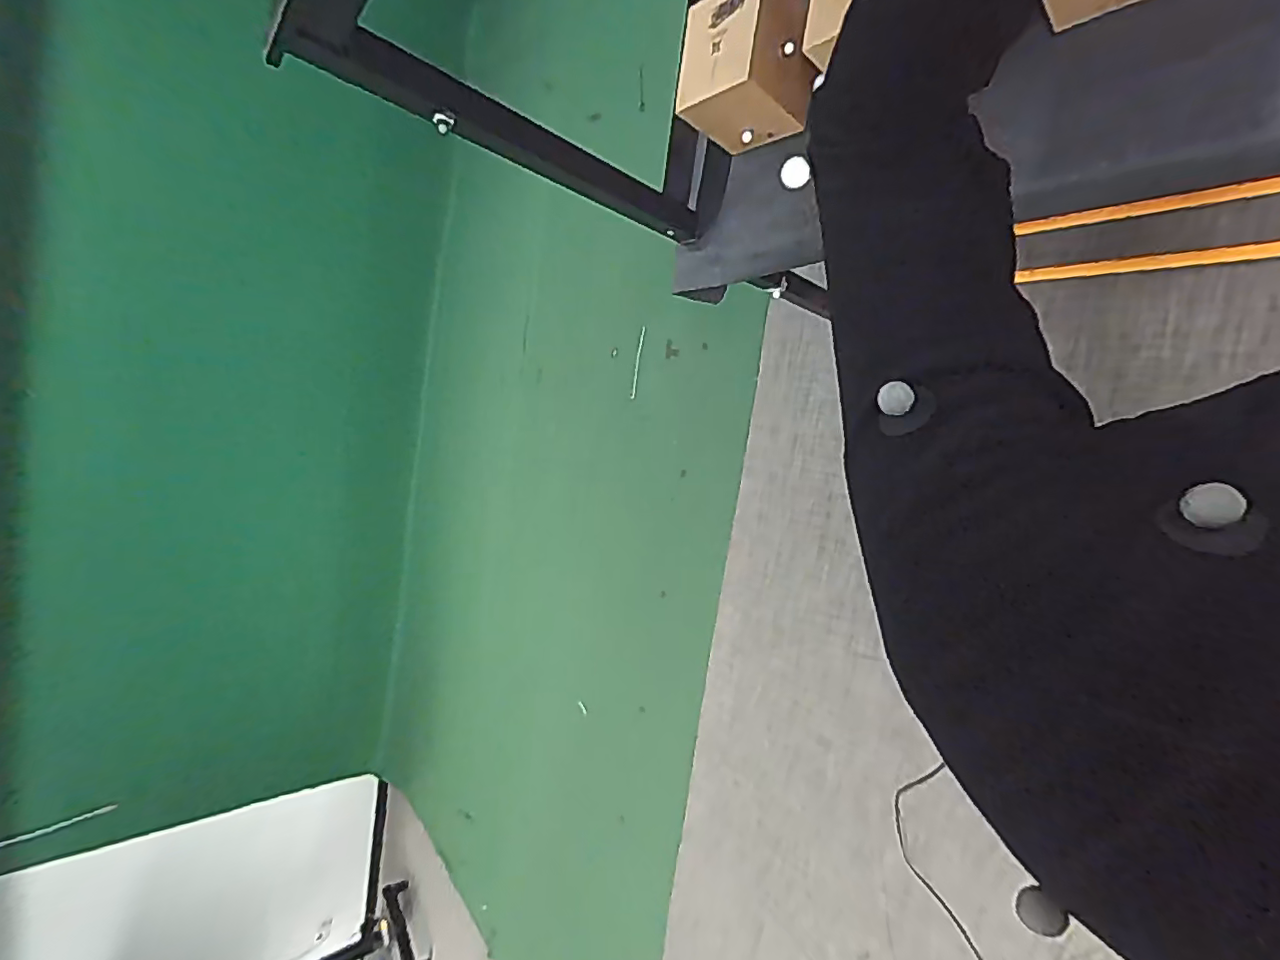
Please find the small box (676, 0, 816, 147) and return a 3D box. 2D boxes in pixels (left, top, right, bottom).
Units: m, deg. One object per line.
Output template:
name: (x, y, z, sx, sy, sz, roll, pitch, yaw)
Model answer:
small box: (0.188, -0.720, 0.934, 0.168, 0.176, 0.179, 15, 99, 48)
